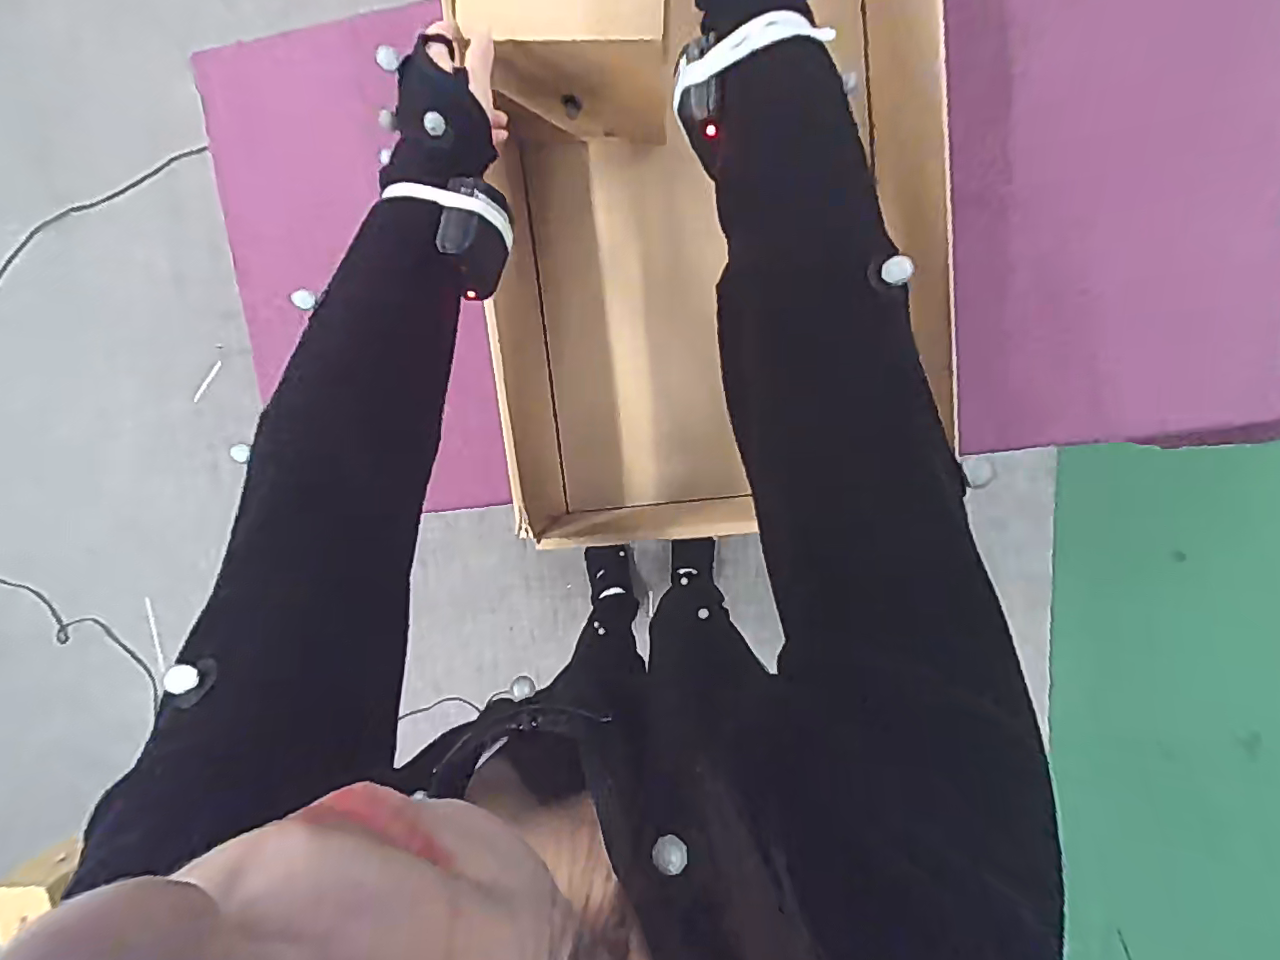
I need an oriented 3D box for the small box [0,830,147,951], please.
[{"bbox_3d":[-1.348,0.974,1.297,0.168,0.176,0.179,-6,97,8],"label":"small box"}]
